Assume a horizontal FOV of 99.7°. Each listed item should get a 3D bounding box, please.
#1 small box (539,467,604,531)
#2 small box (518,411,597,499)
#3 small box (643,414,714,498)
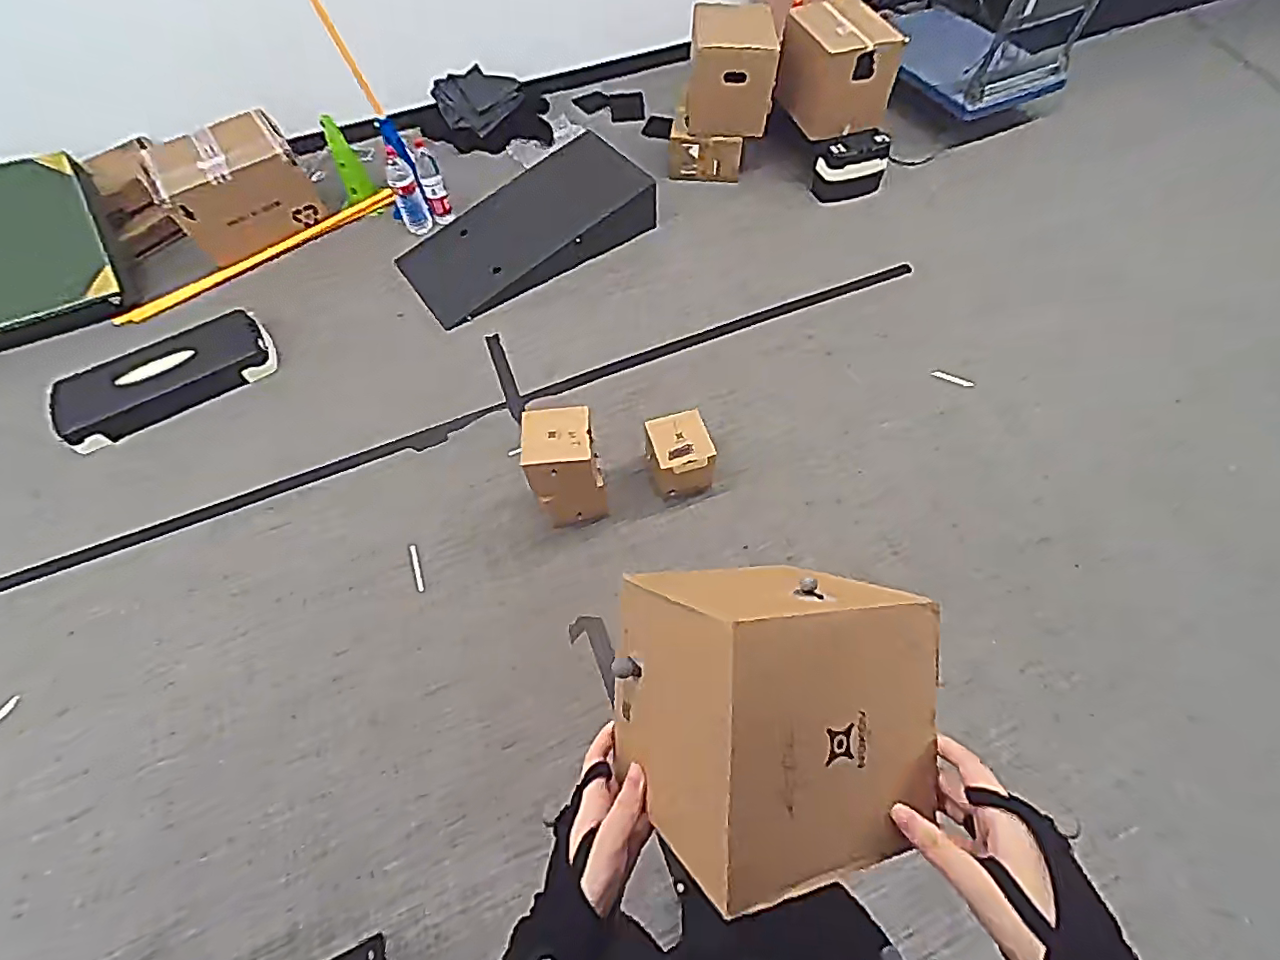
[{"bbox_3d":[-0.204,0.024,1.560,0.179,0.176,0.168,-15,60,-8],"label":"small box"},{"bbox_3d":[-0.212,-0.061,1.419,0.179,0.176,0.168,-5,60,0],"label":"small box"},{"bbox_3d":[0.112,-0.064,1.603,0.168,0.176,0.179,-15,60,-7],"label":"small box"}]
